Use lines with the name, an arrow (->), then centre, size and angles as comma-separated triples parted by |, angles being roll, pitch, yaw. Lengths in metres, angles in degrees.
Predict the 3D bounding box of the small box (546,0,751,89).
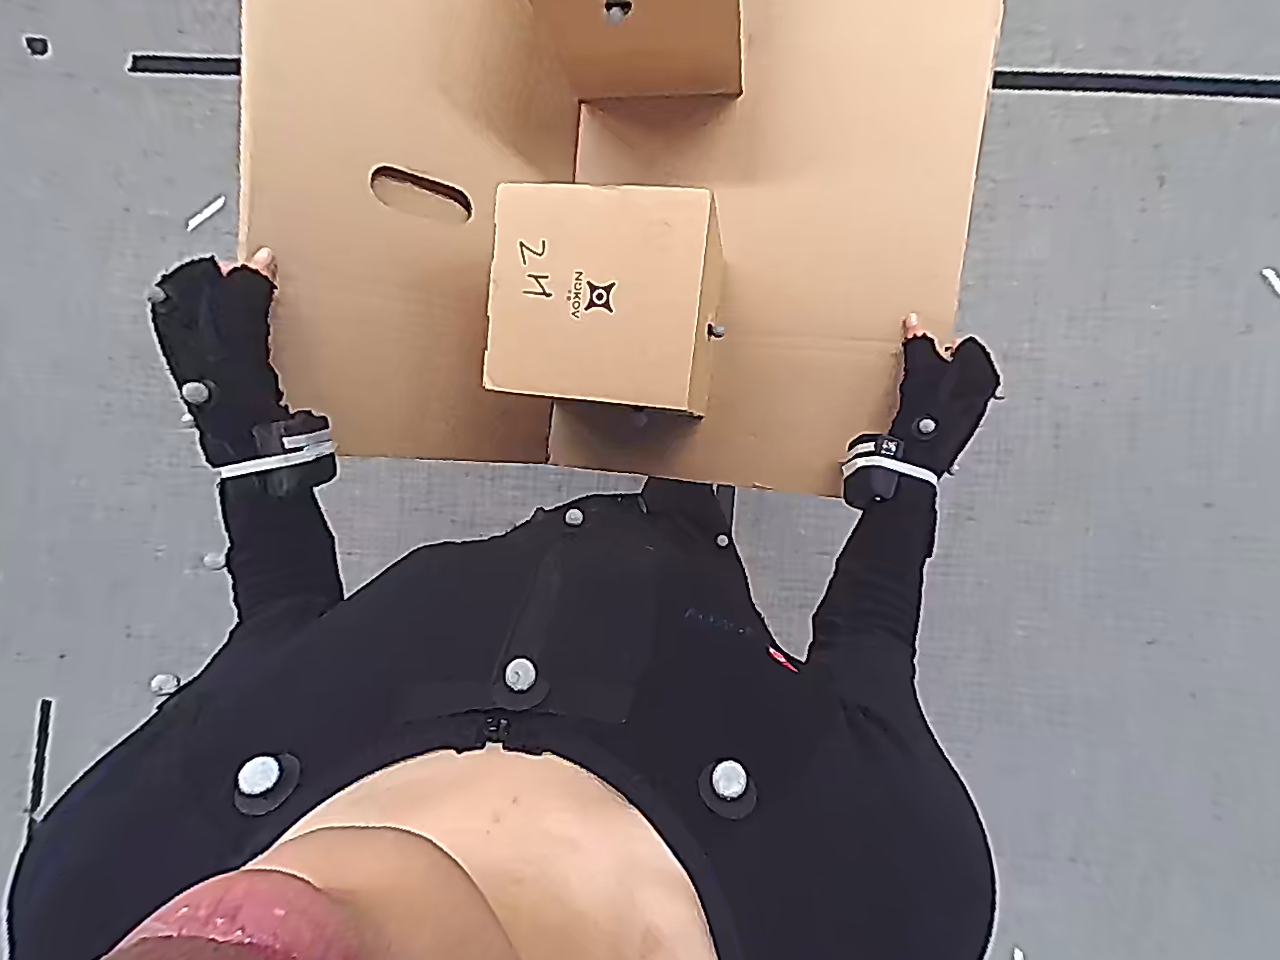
small box -> 0.009, -0.483, 0.481 | 0.179, 0.176, 0.168 | 6, 96, 11

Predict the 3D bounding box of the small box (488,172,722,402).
small box -> -0.020, -0.166, 0.514 | 0.179, 0.176, 0.168 | 8, 96, 12
